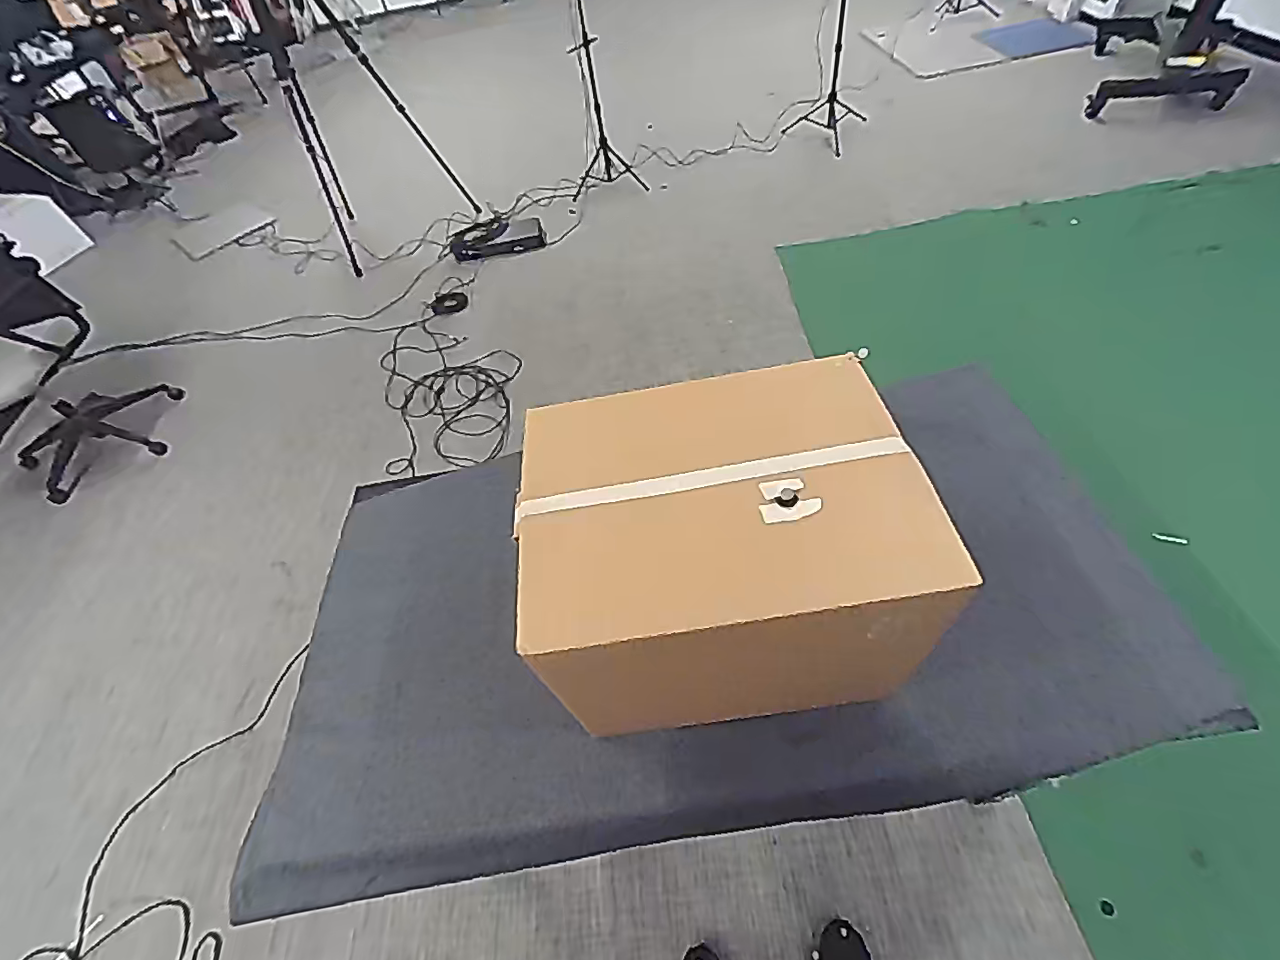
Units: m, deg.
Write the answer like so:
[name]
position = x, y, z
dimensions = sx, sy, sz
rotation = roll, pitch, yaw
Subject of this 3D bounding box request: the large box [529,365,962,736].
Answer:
[large box]
position = 0.094, 0.101, 0.691
dimensions = 0.408, 0.320, 0.320
rotation = -9, 52, 2
